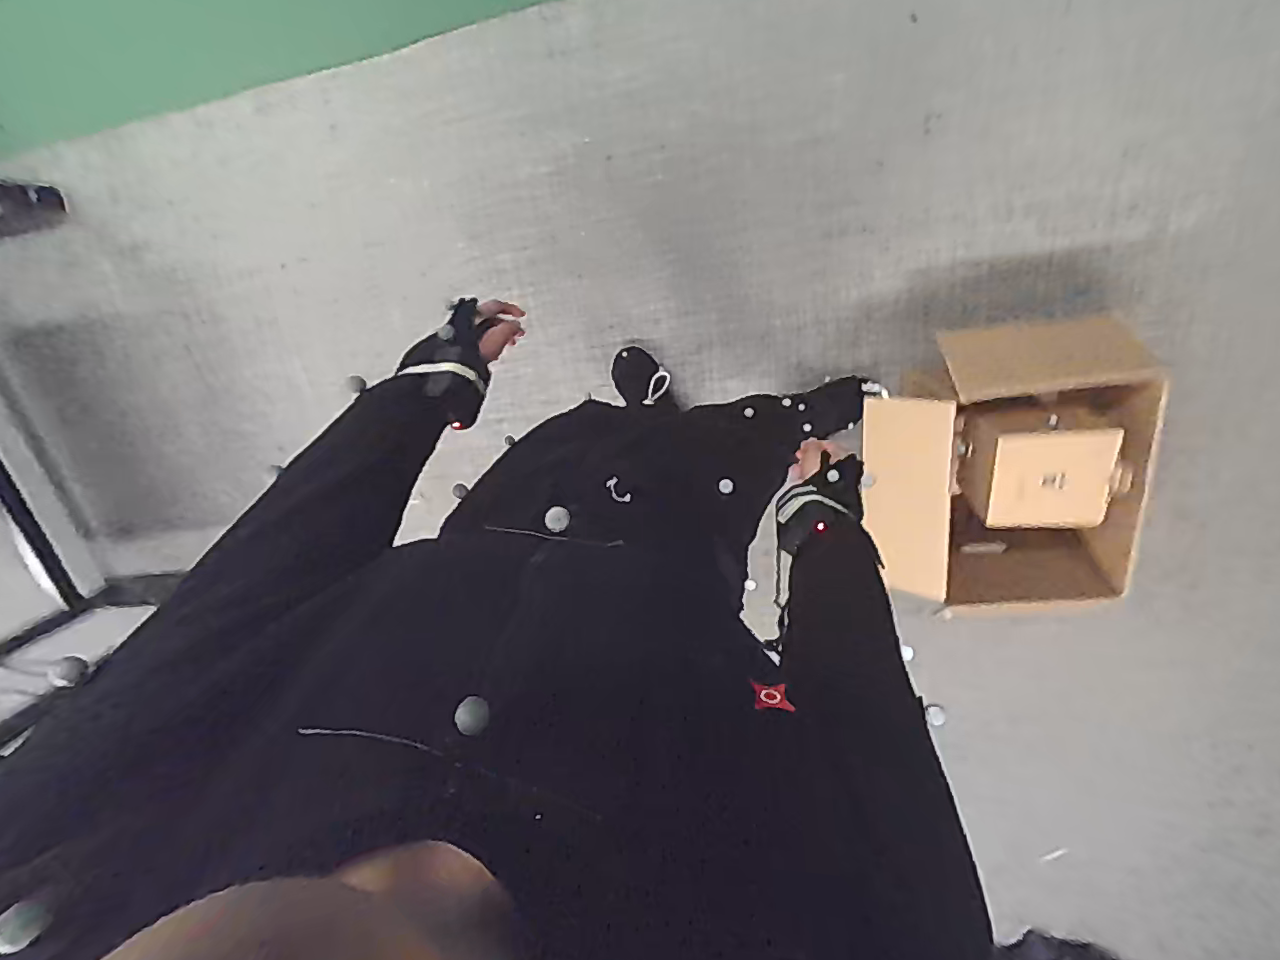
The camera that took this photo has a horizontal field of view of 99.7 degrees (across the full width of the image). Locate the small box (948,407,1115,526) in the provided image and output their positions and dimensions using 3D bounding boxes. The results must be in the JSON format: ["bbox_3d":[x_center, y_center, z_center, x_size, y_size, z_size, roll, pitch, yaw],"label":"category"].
[{"bbox_3d":[0.682,-0.030,0.966,0.179,0.176,0.168,-1,113,12],"label":"small box"}]
